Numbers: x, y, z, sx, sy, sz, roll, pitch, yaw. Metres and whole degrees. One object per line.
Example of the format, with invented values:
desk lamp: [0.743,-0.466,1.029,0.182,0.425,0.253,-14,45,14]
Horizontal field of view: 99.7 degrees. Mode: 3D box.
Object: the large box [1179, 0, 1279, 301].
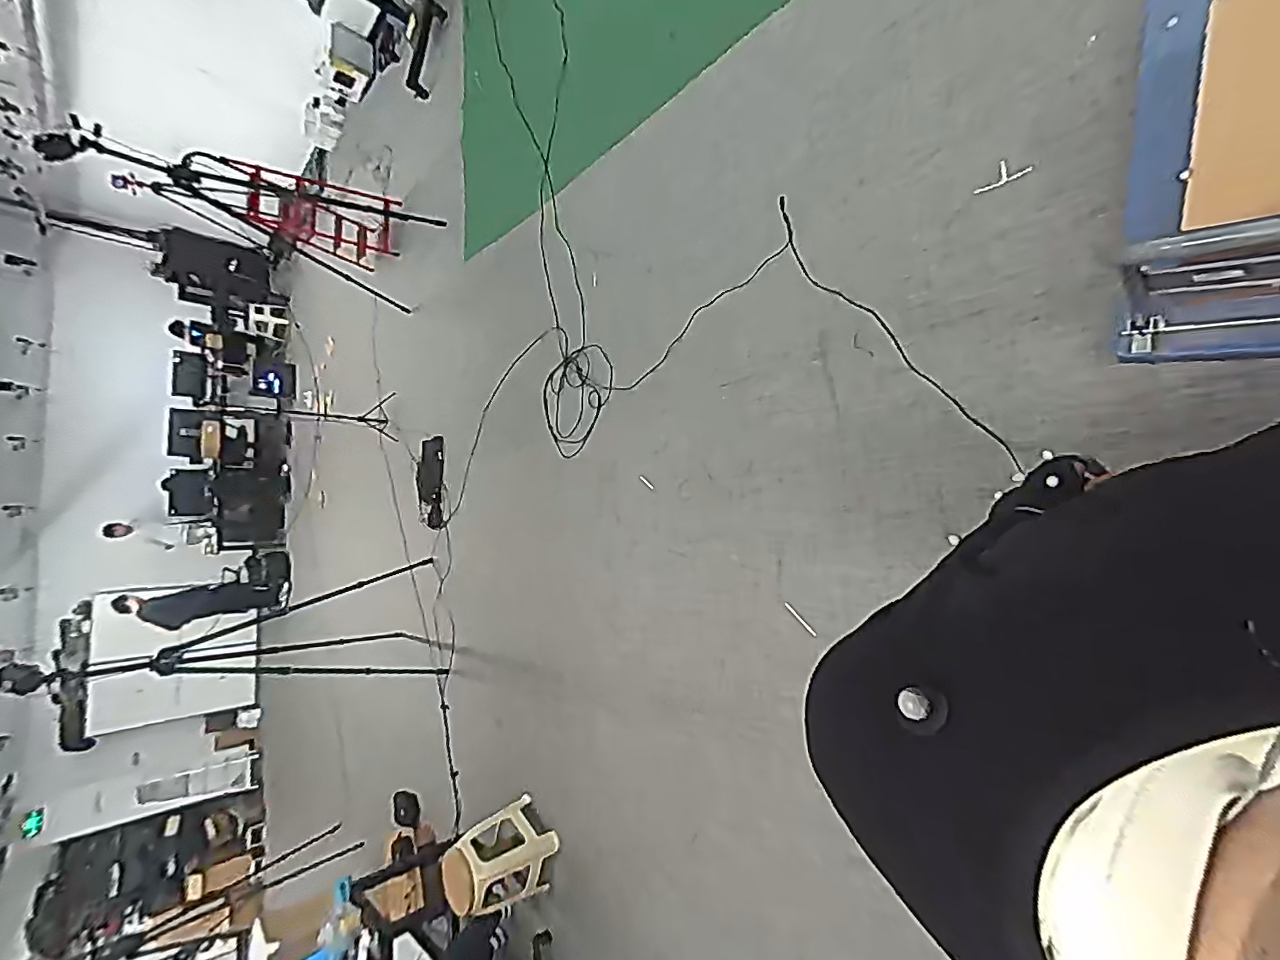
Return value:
large box: [1.102,-0.548,0.862,0.320,0.320,0.408,7,92,46]
